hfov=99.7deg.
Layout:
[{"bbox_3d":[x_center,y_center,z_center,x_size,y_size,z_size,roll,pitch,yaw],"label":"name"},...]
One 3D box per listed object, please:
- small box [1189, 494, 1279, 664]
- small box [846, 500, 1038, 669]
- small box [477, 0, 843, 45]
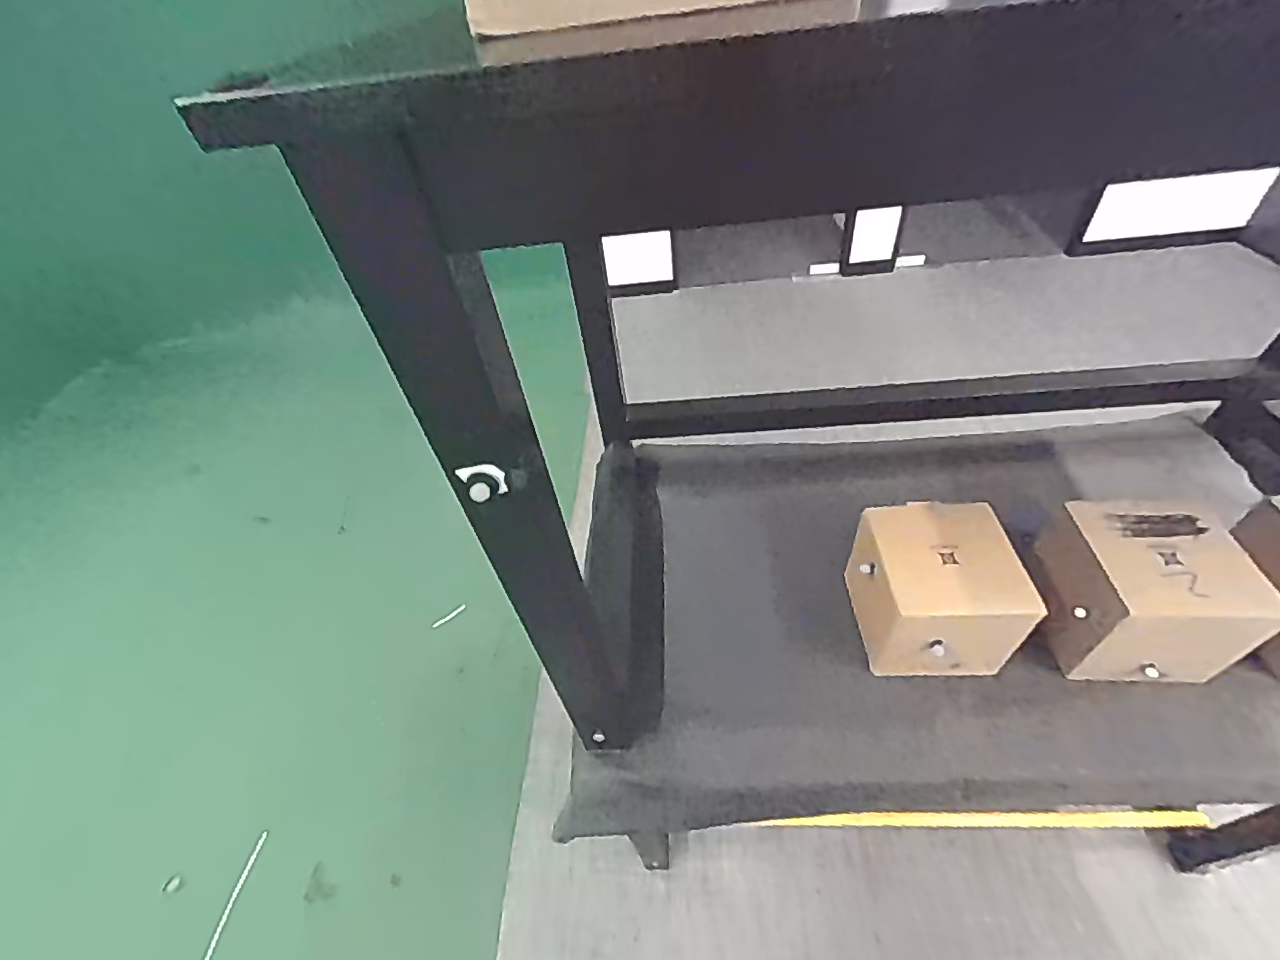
[{"bbox_3d":[0.889,0.133,0.690,0.168,0.176,0.179,-3,45,5],"label":"small box"},{"bbox_3d":[0.400,0.149,0.754,0.168,0.176,0.179,-3,45,6],"label":"small box"},{"bbox_3d":[0.002,-0.308,0.231,0.168,0.176,0.179,-4,47,5],"label":"small box"}]
